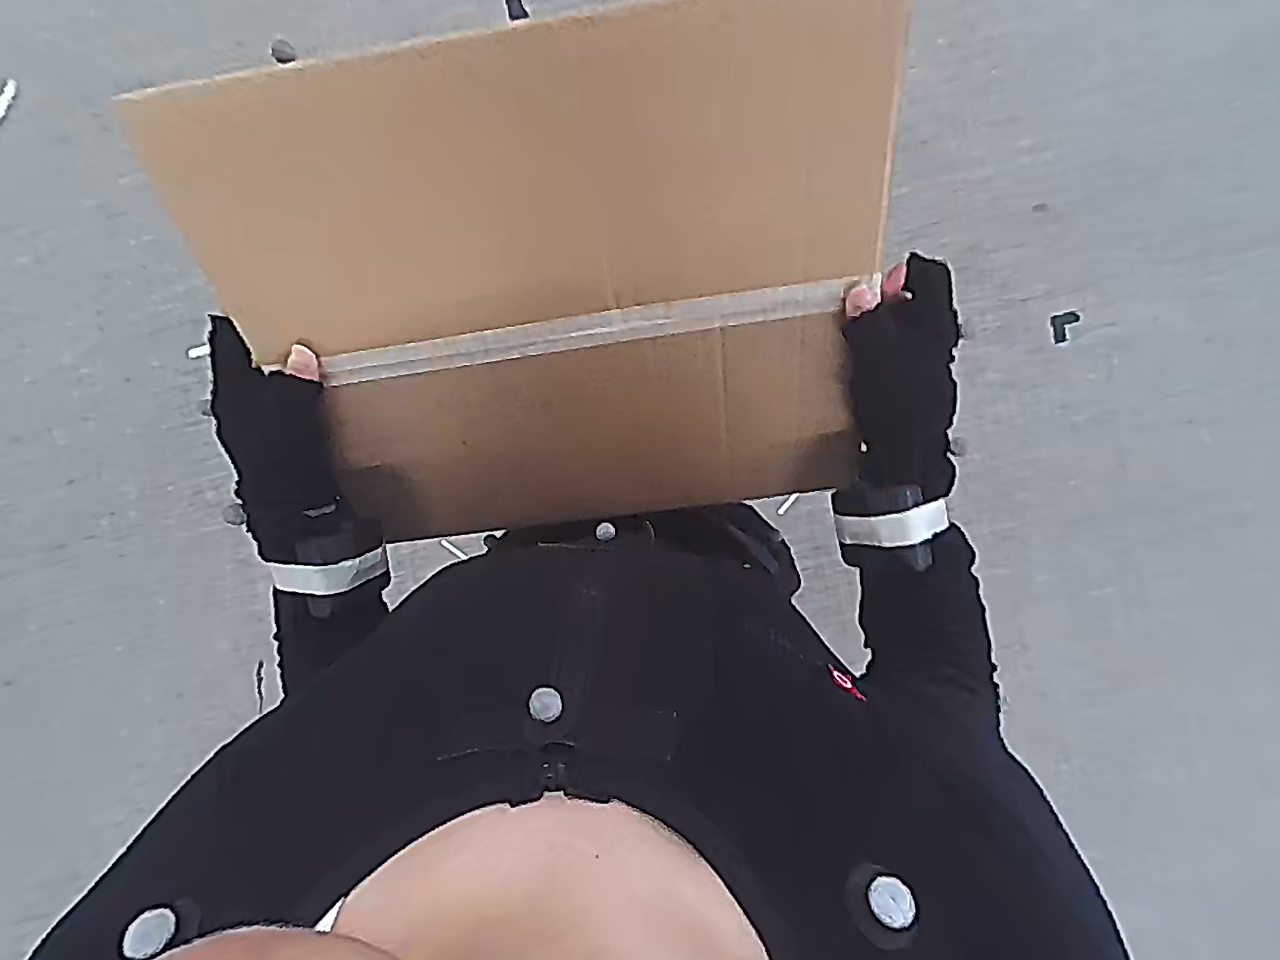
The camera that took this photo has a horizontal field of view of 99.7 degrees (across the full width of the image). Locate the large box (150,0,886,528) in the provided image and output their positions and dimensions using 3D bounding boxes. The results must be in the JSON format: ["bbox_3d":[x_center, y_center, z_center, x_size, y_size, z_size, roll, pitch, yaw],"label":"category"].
[{"bbox_3d":[-0.056,-0.193,0.484,0.408,0.320,0.320,-7,127,4],"label":"large box"}]
